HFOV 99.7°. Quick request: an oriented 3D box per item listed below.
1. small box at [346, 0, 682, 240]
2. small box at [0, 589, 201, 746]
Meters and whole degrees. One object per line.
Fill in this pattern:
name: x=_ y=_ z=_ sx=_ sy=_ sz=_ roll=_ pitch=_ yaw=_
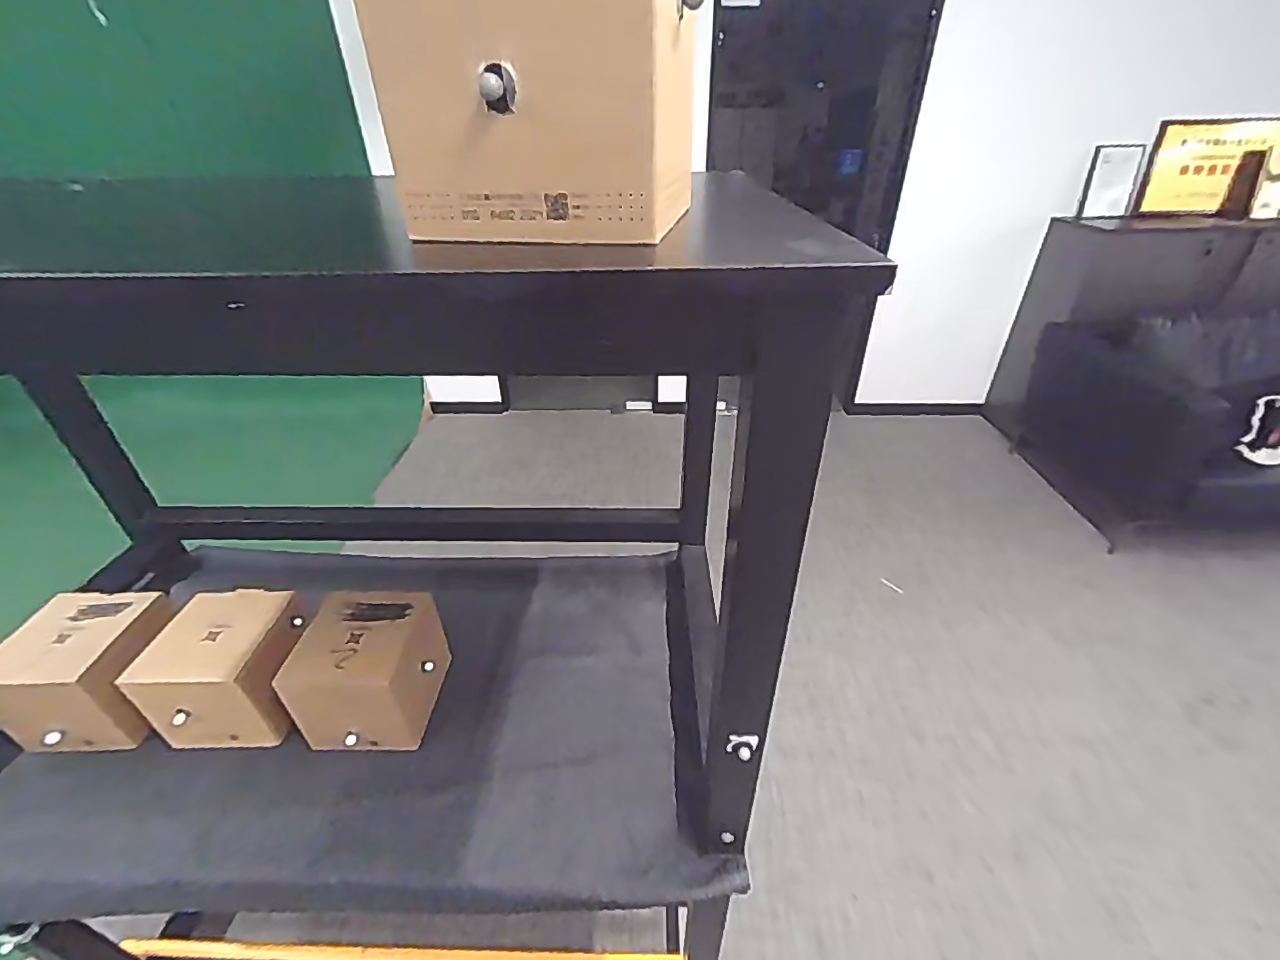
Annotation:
small box: x=-0.063 y=-0.264 z=0.363 sx=0.168 sy=0.176 sz=0.179 roll=6 pitch=34 yaw=10
small box: x=-0.856 y=0.296 z=0.863 sx=0.168 sy=0.176 sz=0.179 roll=-1 pitch=34 yaw=-1
